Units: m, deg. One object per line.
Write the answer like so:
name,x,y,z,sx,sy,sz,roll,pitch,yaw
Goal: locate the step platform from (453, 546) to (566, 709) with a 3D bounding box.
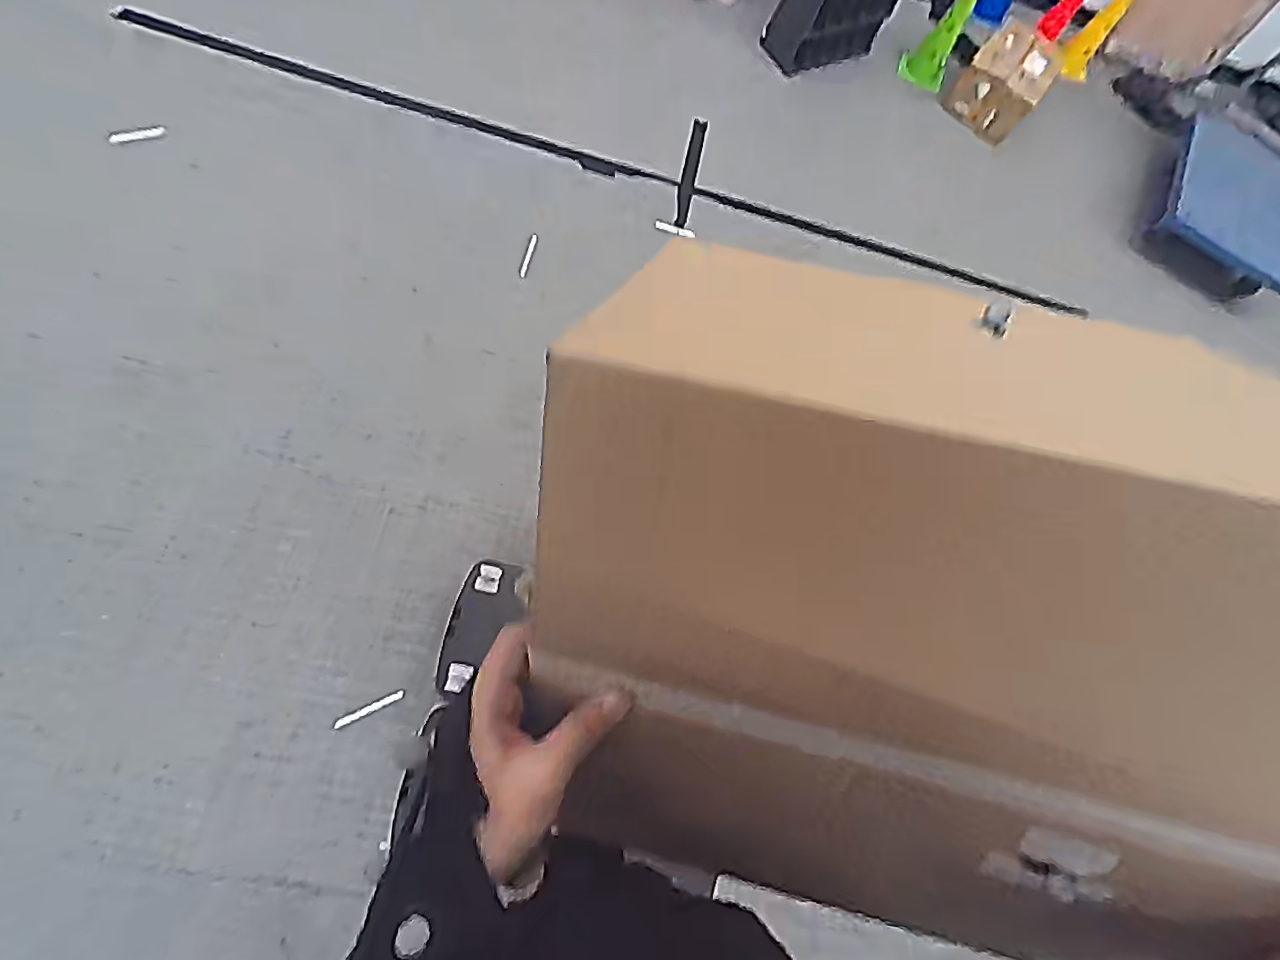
step platform,-0.044,0.380,1.180,0.684,0.204,0.286,20,68,-6
